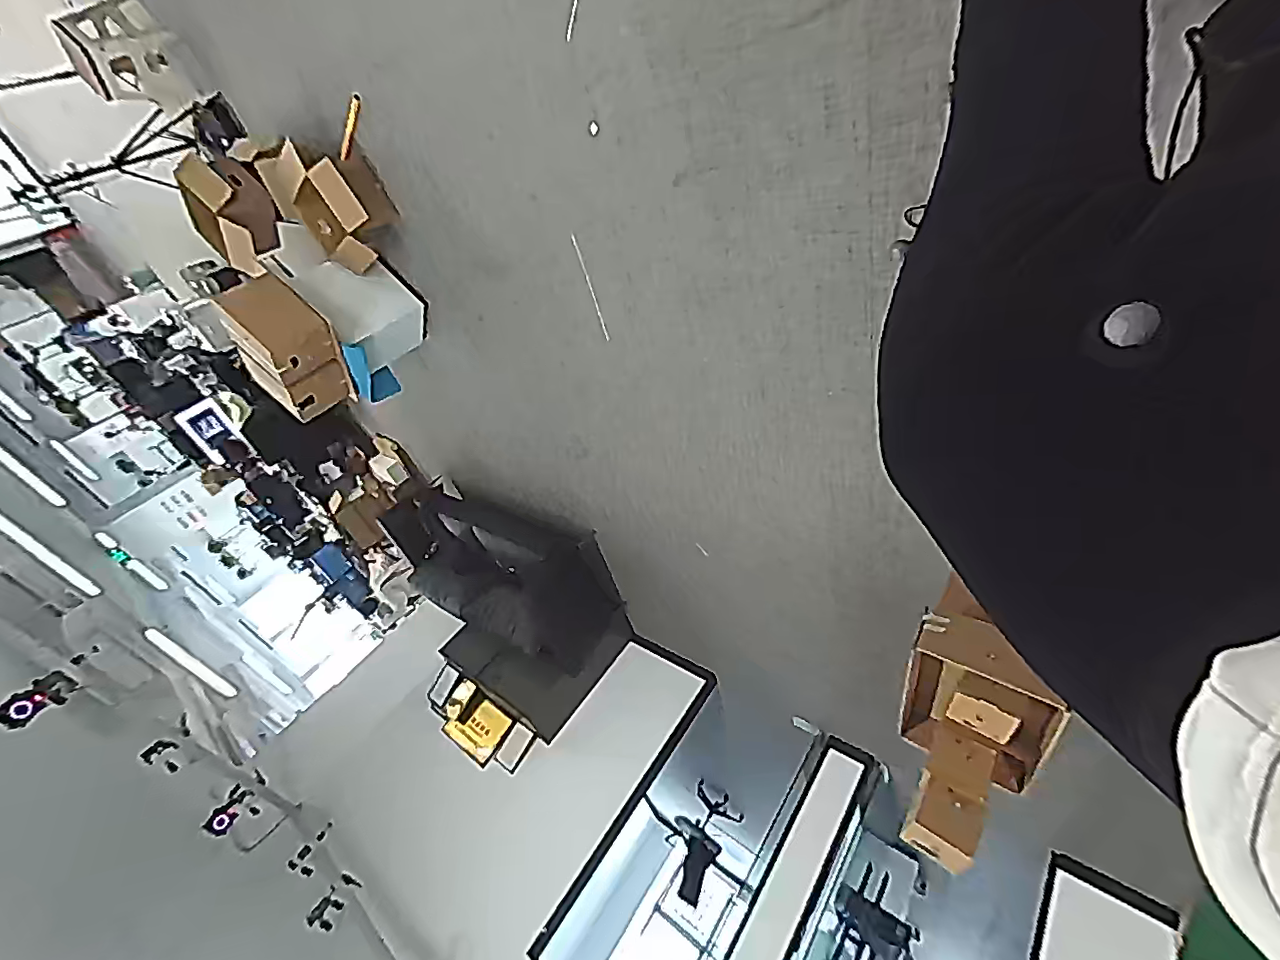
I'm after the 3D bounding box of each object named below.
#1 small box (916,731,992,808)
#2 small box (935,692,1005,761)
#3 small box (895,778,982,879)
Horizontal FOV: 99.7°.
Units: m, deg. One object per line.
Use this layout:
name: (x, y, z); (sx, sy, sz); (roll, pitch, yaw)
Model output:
small box: (0.990, 0.940, 1.707); (0.168, 0.176, 0.179); (18, 137, 37)
small box: (1.089, 0.847, 1.796); (0.168, 0.176, 0.179); (17, 137, 36)
small box: (0.895, 1.040, 1.619); (0.168, 0.176, 0.179); (25, 141, 30)
